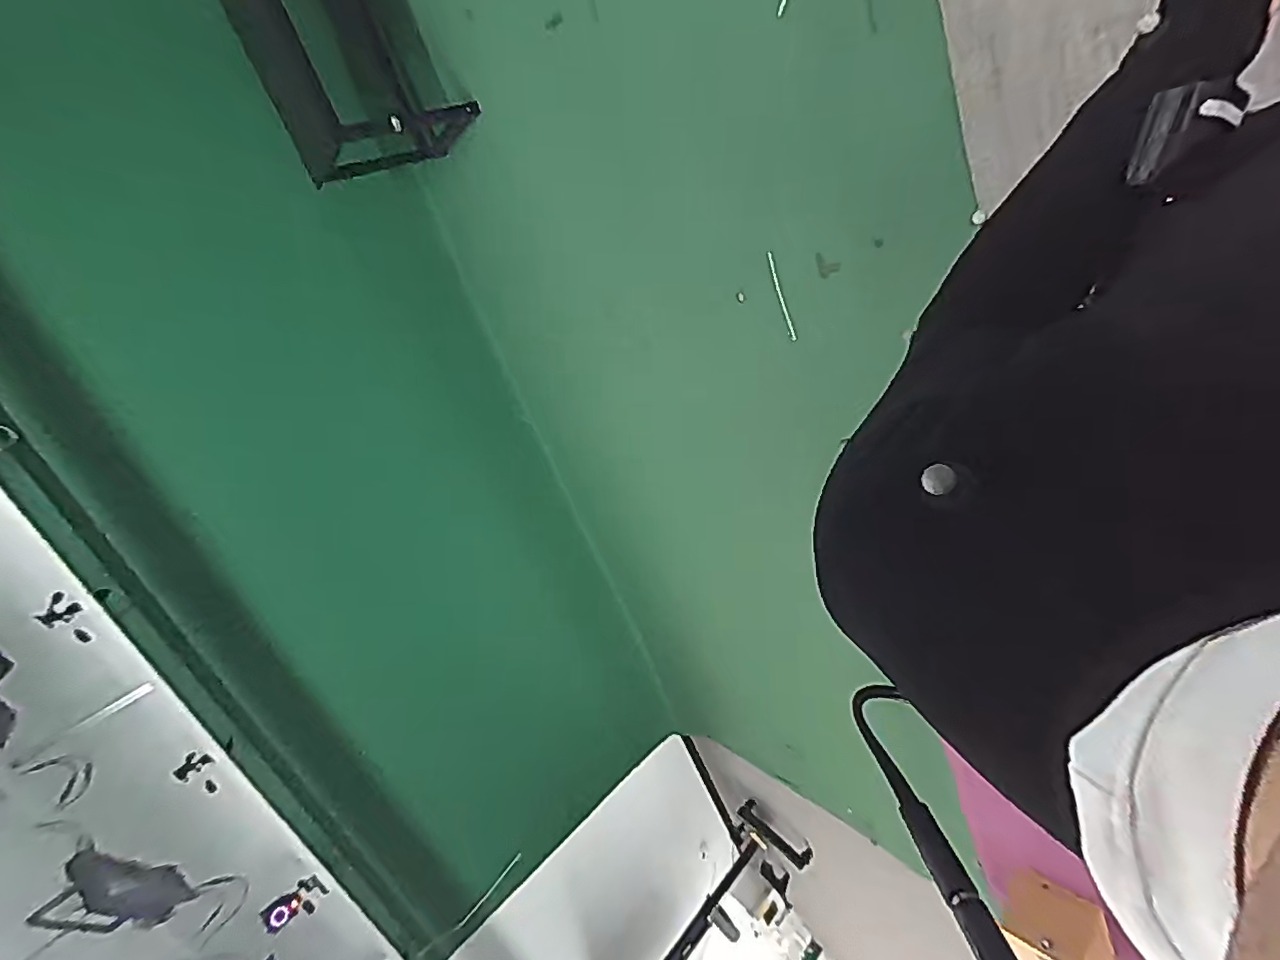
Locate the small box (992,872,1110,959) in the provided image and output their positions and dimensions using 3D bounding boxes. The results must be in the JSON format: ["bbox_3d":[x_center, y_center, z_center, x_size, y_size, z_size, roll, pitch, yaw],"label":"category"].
[{"bbox_3d":[0.964,1.085,1.265,0.168,0.176,0.179,-2,117,55],"label":"small box"}]
